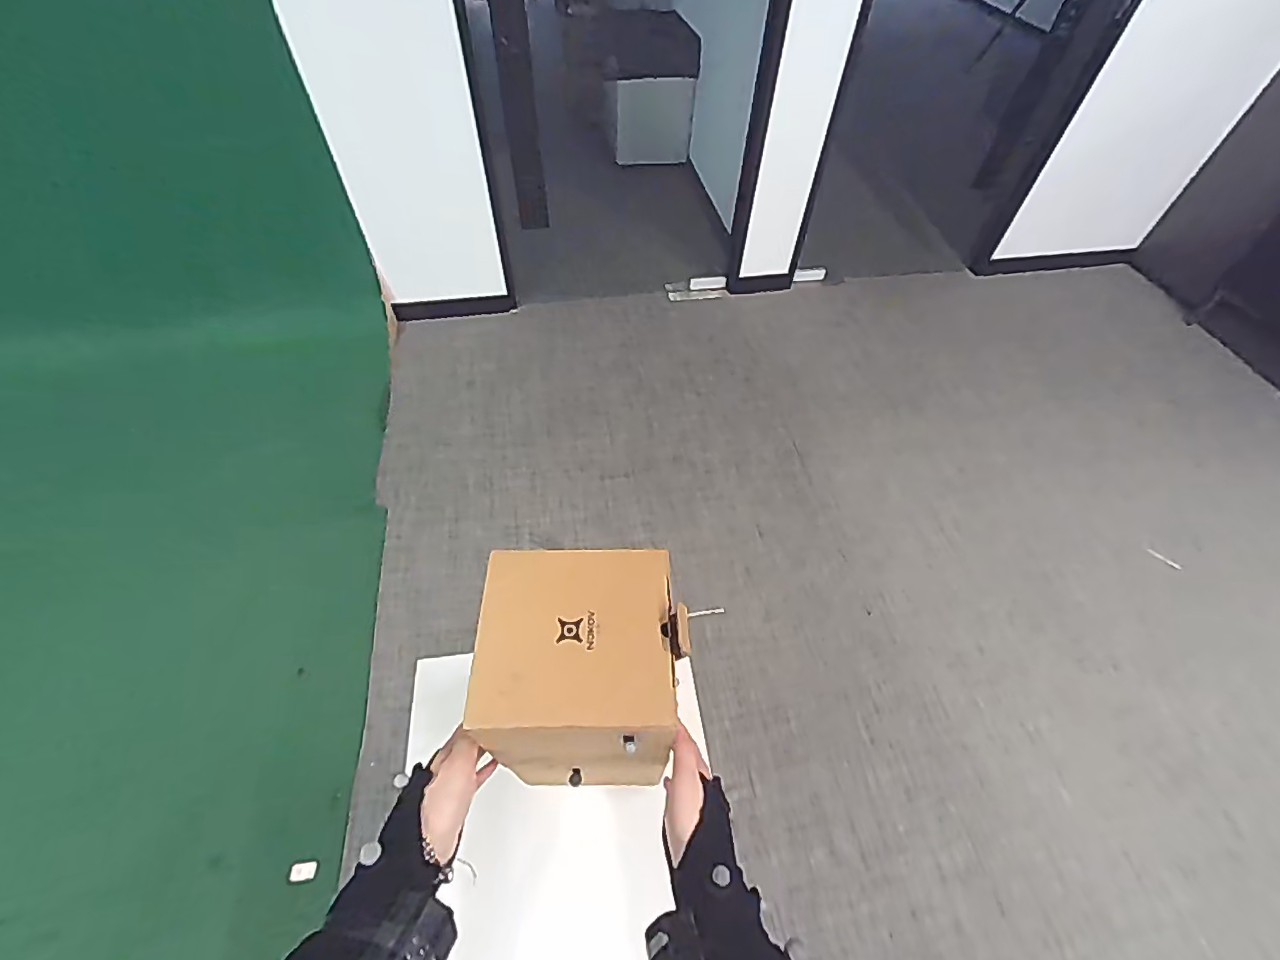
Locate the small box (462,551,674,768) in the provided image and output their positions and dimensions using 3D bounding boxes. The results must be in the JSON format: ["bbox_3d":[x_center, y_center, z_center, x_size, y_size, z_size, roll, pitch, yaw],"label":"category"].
[{"bbox_3d":[-0.060,0.186,0.548,0.179,0.176,0.168,0,52,-2],"label":"small box"}]

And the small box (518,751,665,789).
[{"bbox_3d":[-0.061,0.284,0.679,0.179,0.176,0.168,0,53,-2],"label":"small box"}]
